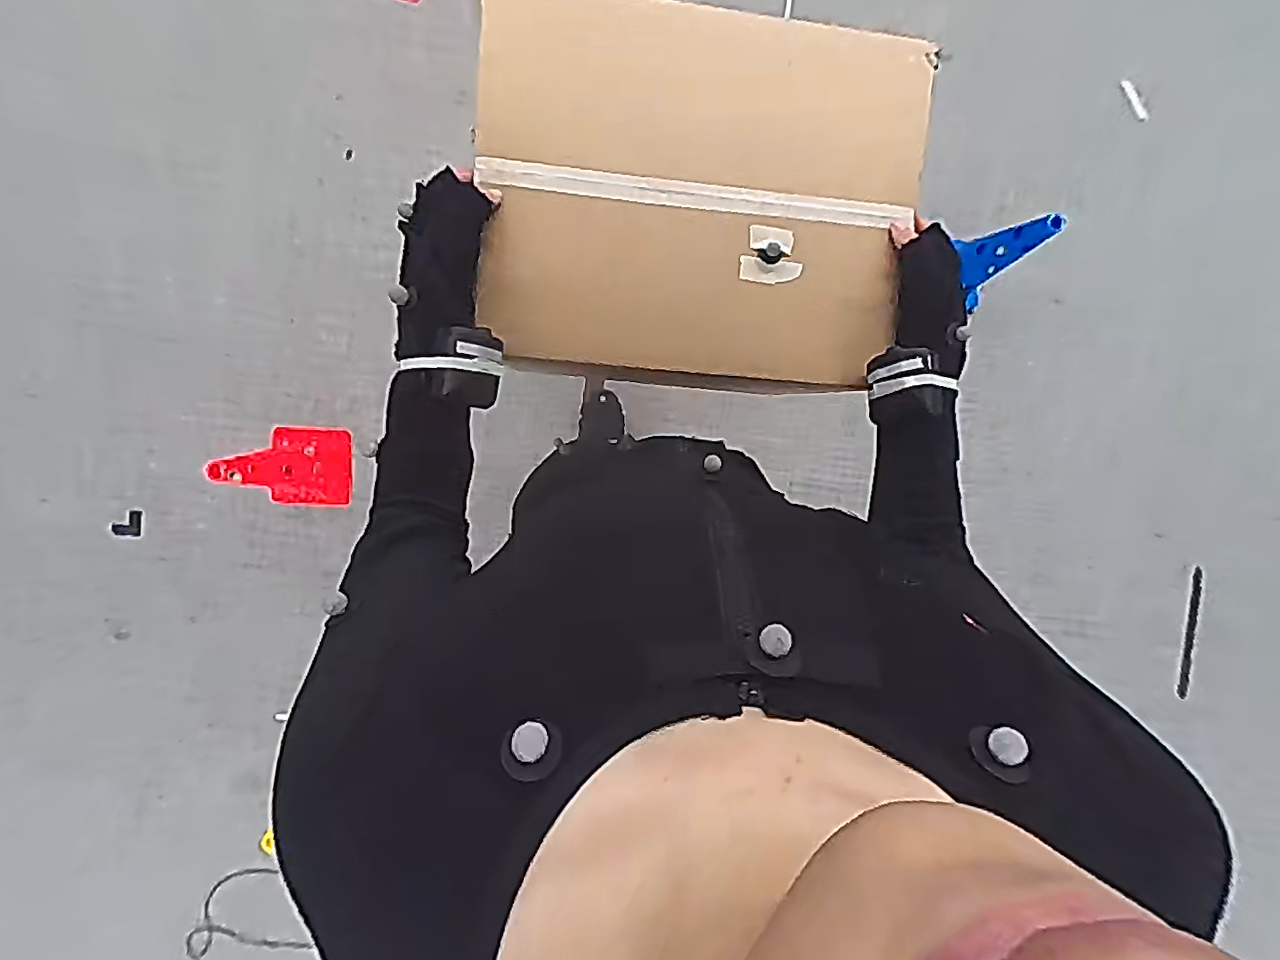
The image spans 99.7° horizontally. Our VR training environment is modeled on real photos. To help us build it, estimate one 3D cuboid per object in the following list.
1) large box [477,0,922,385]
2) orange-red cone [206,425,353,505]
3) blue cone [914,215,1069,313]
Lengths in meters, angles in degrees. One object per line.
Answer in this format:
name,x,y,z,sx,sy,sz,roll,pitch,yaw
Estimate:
large box,0.039,-0.287,0.645,0.408,0.320,0.320,4,98,-6
orange-red cone,-0.832,-0.025,1.222,0.198,0.360,0.199,4,94,-3
blue cone,0.872,-0.559,1.336,0.192,0.380,0.193,10,92,-6
